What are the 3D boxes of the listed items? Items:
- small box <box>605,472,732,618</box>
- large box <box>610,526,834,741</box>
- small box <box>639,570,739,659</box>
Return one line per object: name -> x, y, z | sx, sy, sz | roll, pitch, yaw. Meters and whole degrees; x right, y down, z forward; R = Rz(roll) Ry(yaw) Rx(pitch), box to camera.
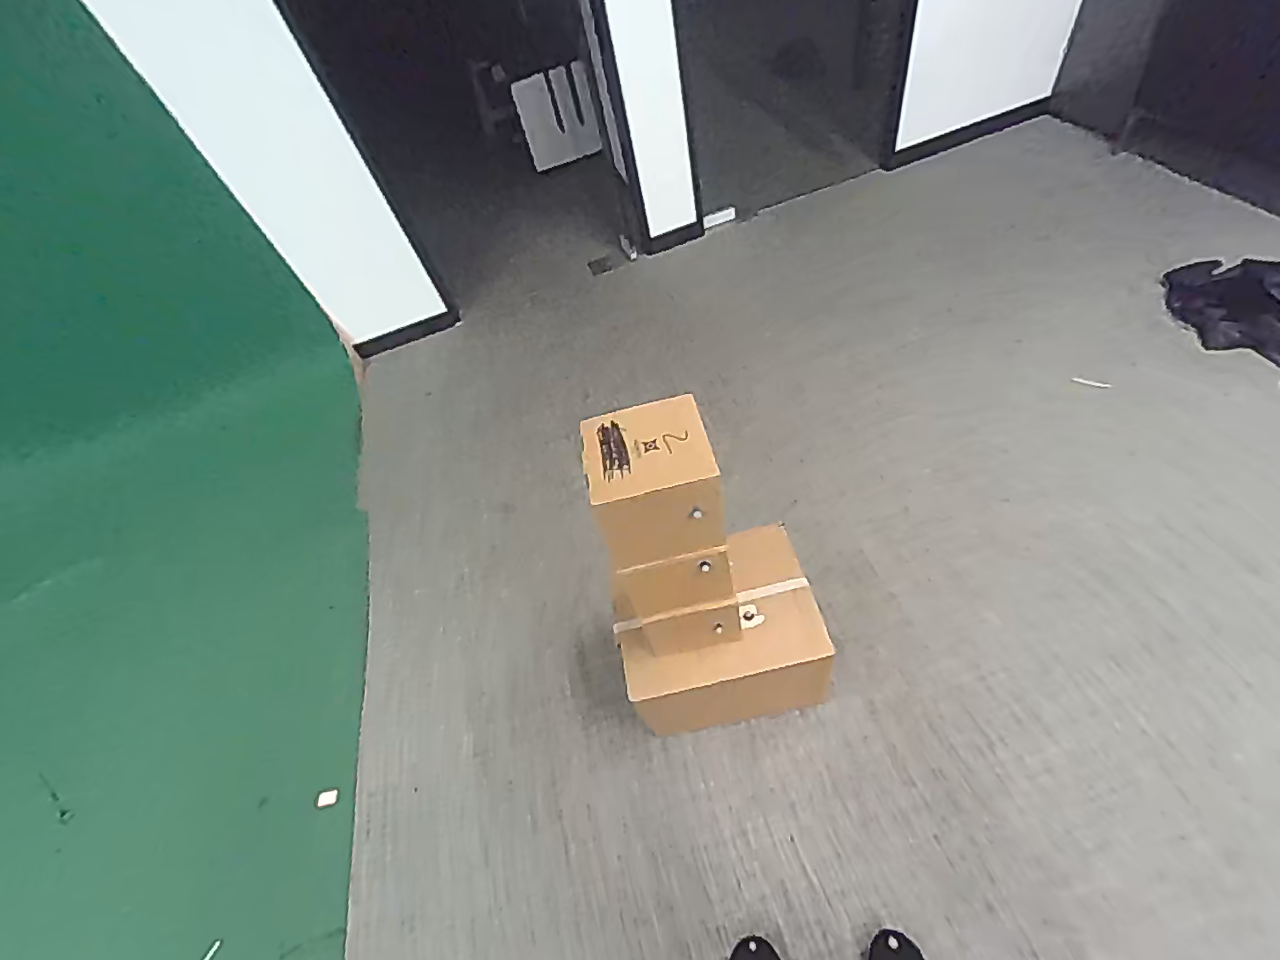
small box -> 0.050, 0.117, 0.927 | 0.179, 0.176, 0.168 | -14, 50, 2
large box -> 0.175, 0.356, 1.231 | 0.408, 0.320, 0.320 | -14, 52, 2
small box -> 0.090, 0.225, 1.042 | 0.179, 0.176, 0.168 | -14, 50, 4
